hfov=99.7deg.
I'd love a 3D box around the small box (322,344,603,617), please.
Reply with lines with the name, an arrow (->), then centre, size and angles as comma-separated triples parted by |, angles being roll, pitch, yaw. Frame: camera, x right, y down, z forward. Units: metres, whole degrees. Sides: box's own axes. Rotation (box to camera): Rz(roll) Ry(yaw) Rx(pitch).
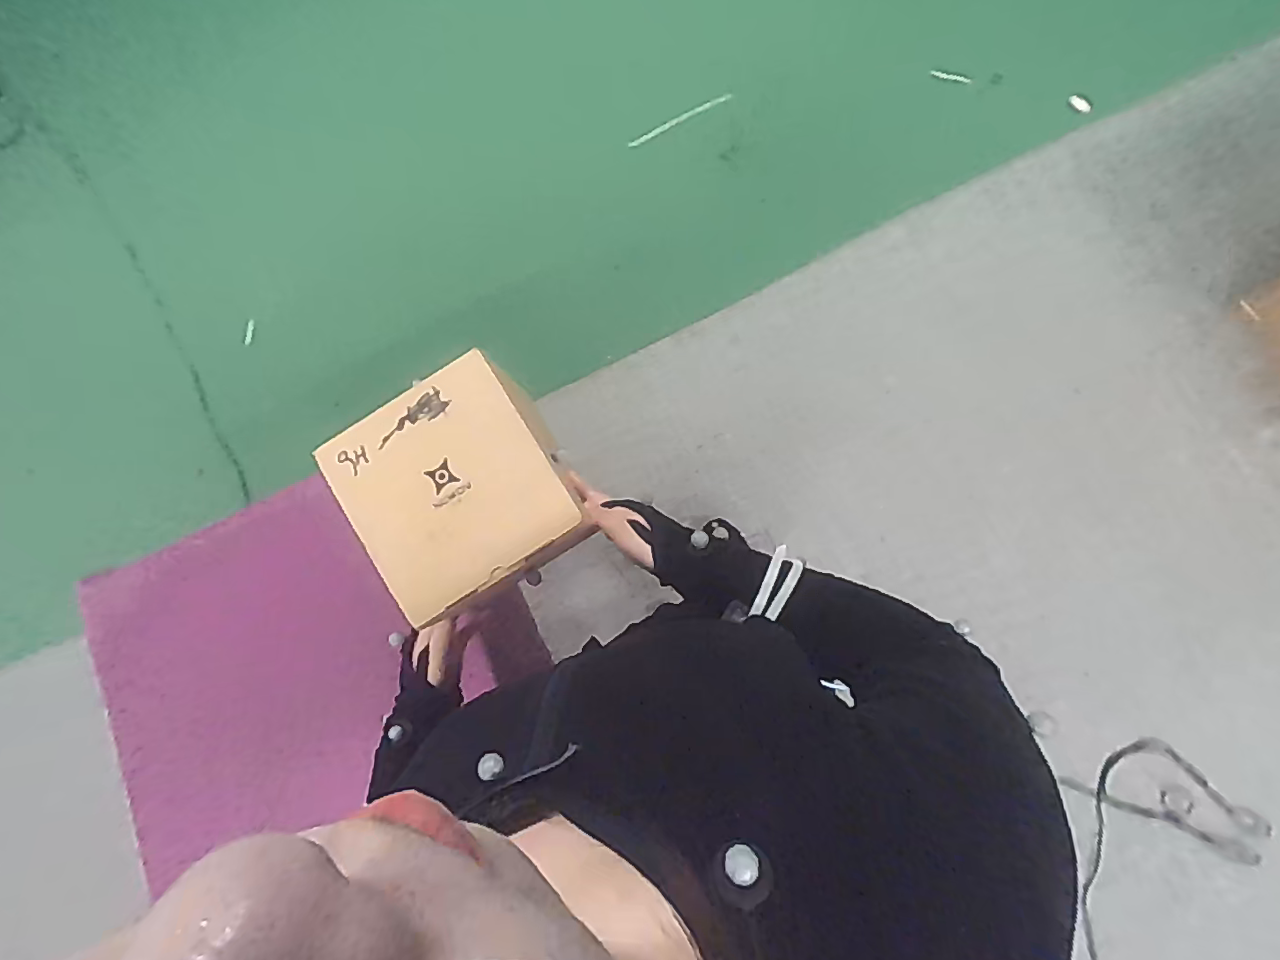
small box -> -0.150, 0.004, 0.524 | 0.168, 0.176, 0.179 | -31, 85, 0
